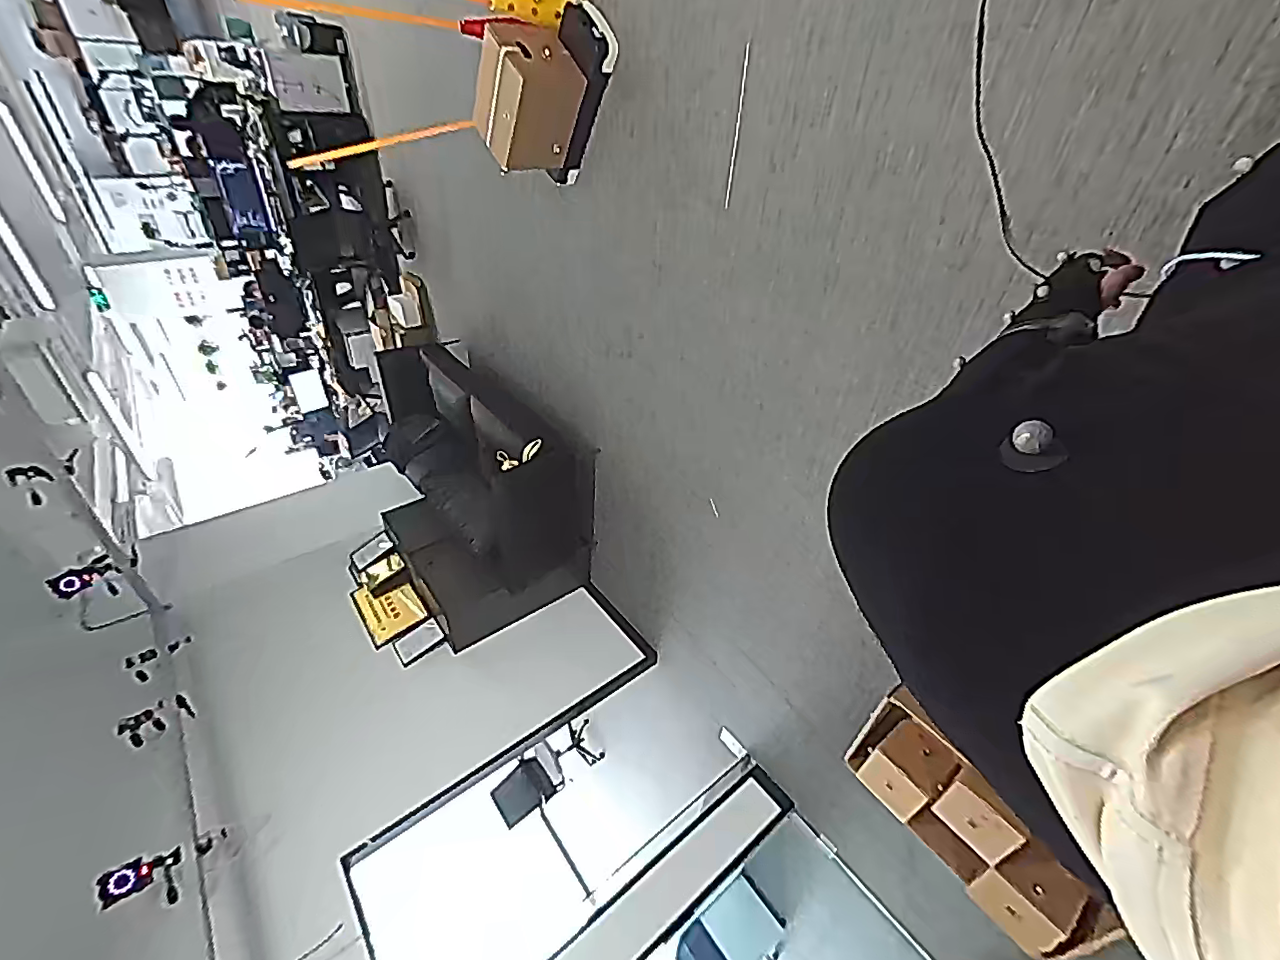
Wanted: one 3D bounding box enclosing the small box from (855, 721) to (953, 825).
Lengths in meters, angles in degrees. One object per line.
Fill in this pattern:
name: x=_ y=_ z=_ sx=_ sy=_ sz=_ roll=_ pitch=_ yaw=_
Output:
small box: x=0.763 y=0.842 z=1.561 sx=0.168 sy=0.176 sz=0.179 roll=42 pitch=139 yaw=36
